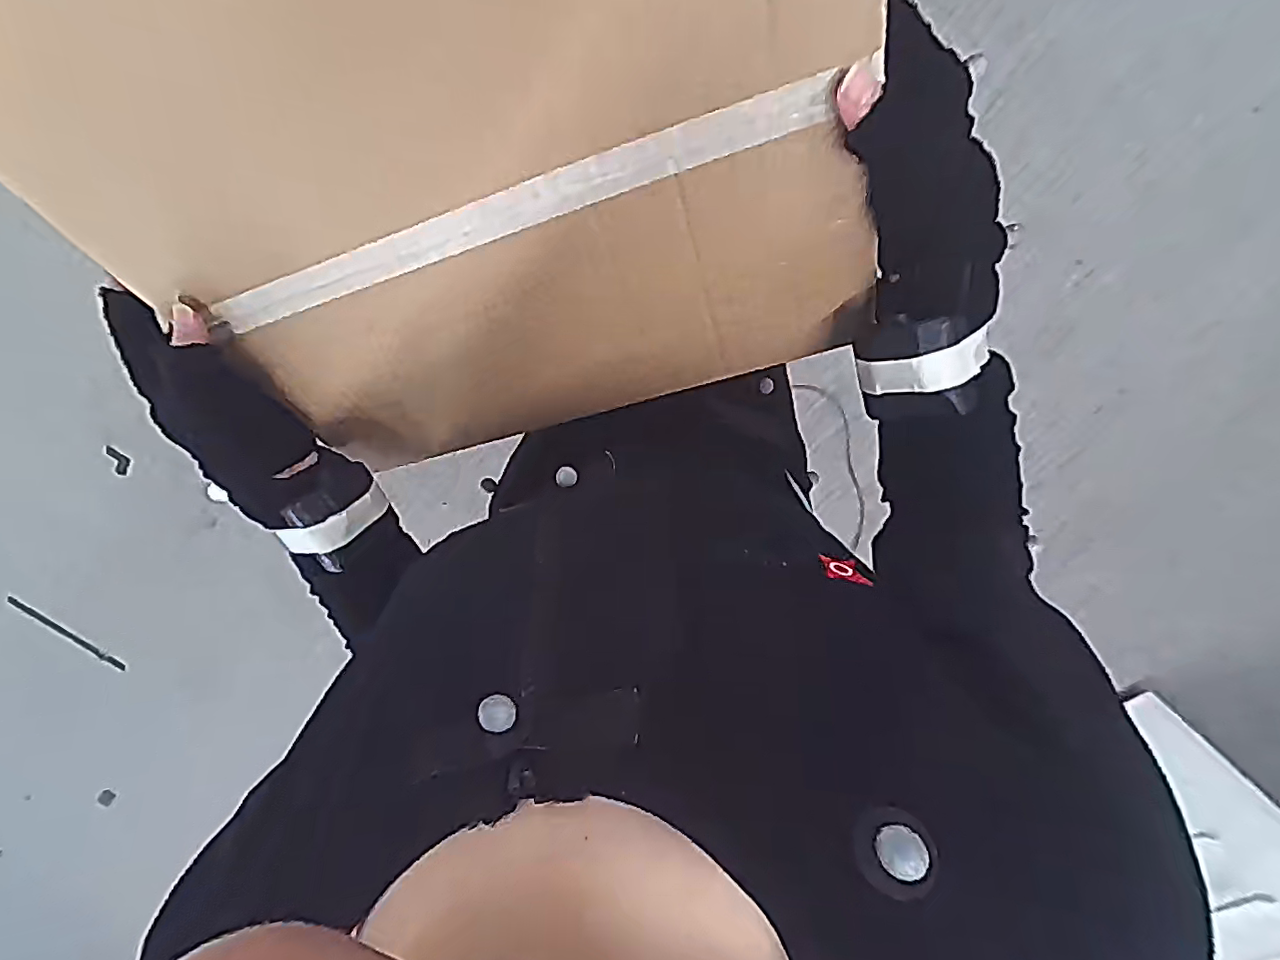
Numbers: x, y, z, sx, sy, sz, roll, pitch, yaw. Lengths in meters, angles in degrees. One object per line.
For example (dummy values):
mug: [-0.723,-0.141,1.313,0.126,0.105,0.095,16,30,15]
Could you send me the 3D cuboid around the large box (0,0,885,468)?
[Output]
large box: [-0.082,-0.258,0.391,0.408,0.320,0.320,-13,143,12]
